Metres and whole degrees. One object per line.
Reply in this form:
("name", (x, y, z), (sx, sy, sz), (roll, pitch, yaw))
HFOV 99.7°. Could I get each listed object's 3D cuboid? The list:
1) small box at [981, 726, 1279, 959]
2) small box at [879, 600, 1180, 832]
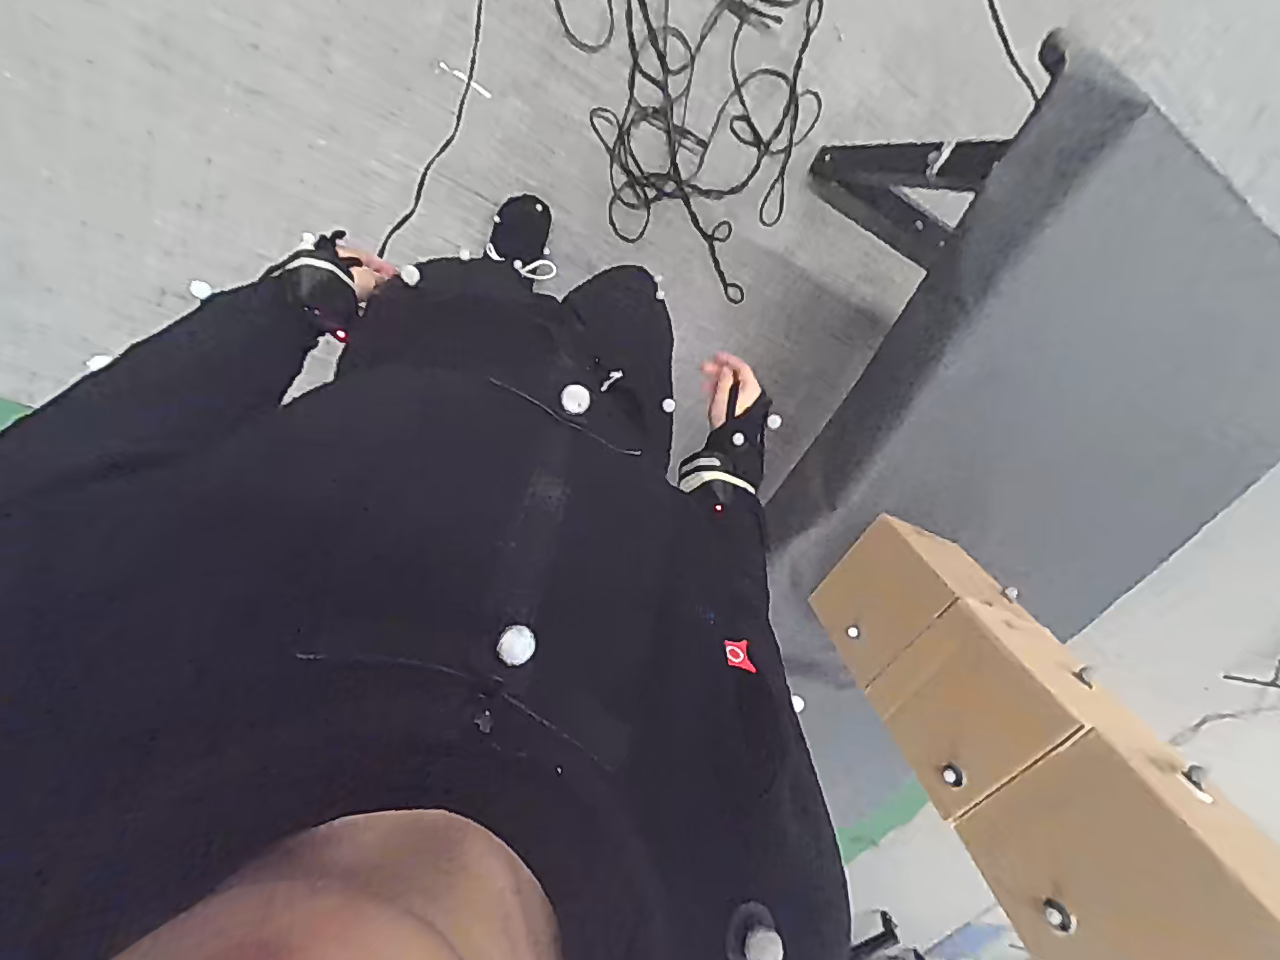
("small box", (0.440, 0.347, 0.466), (0.168, 0.176, 0.179), (21, 115, -23))
("small box", (0.410, 0.262, 0.601), (0.168, 0.176, 0.179), (21, 116, -22))
